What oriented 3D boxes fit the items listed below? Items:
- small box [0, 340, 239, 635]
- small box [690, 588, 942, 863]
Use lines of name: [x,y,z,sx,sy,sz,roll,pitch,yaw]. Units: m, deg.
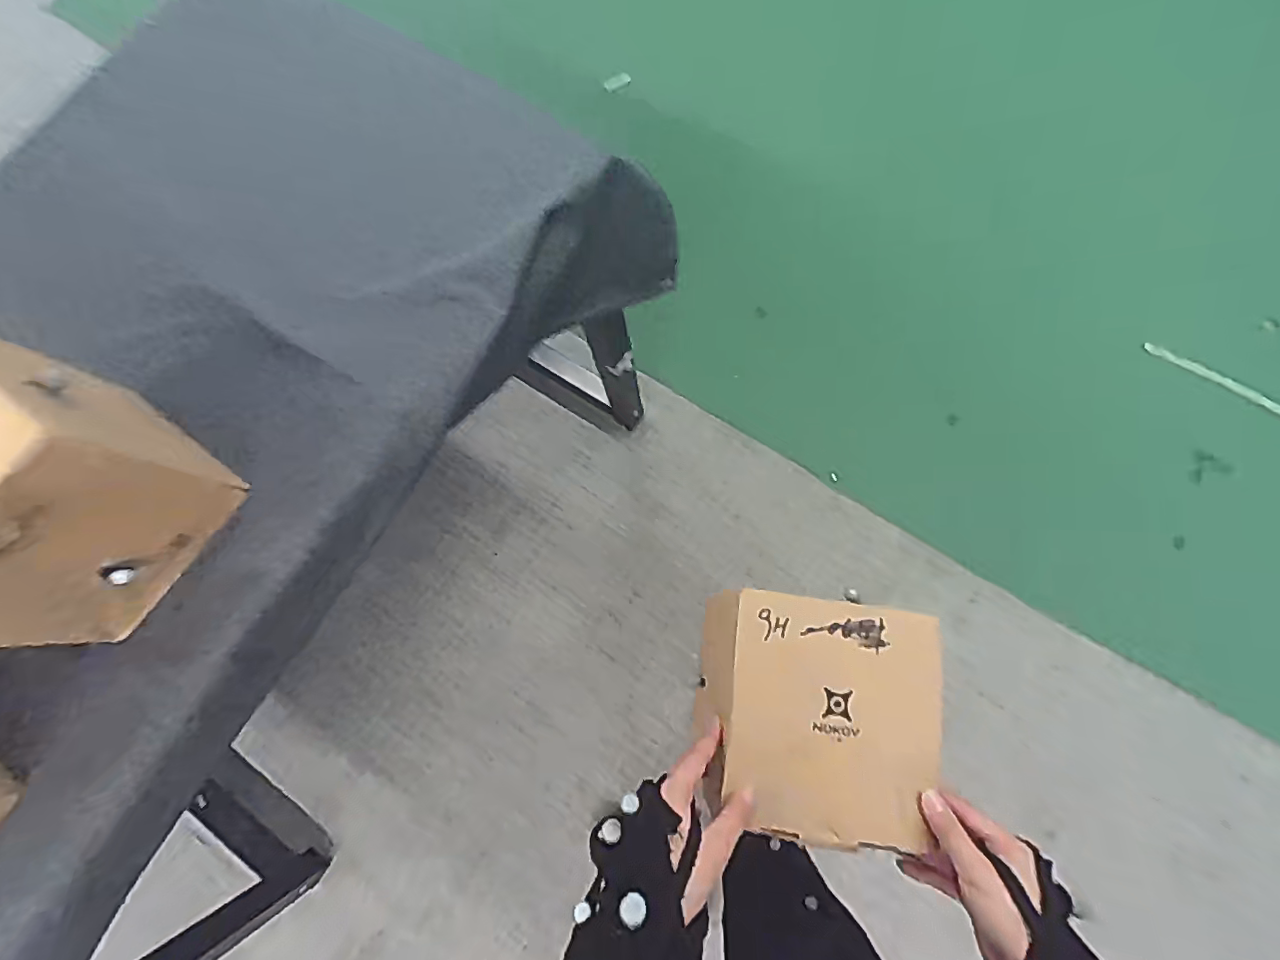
small box: [-0.476,0.007,0.414,0.179,0.176,0.168,34,80,11]
small box: [0.140,0.196,0.482,0.168,0.176,0.179,8,77,-1]
